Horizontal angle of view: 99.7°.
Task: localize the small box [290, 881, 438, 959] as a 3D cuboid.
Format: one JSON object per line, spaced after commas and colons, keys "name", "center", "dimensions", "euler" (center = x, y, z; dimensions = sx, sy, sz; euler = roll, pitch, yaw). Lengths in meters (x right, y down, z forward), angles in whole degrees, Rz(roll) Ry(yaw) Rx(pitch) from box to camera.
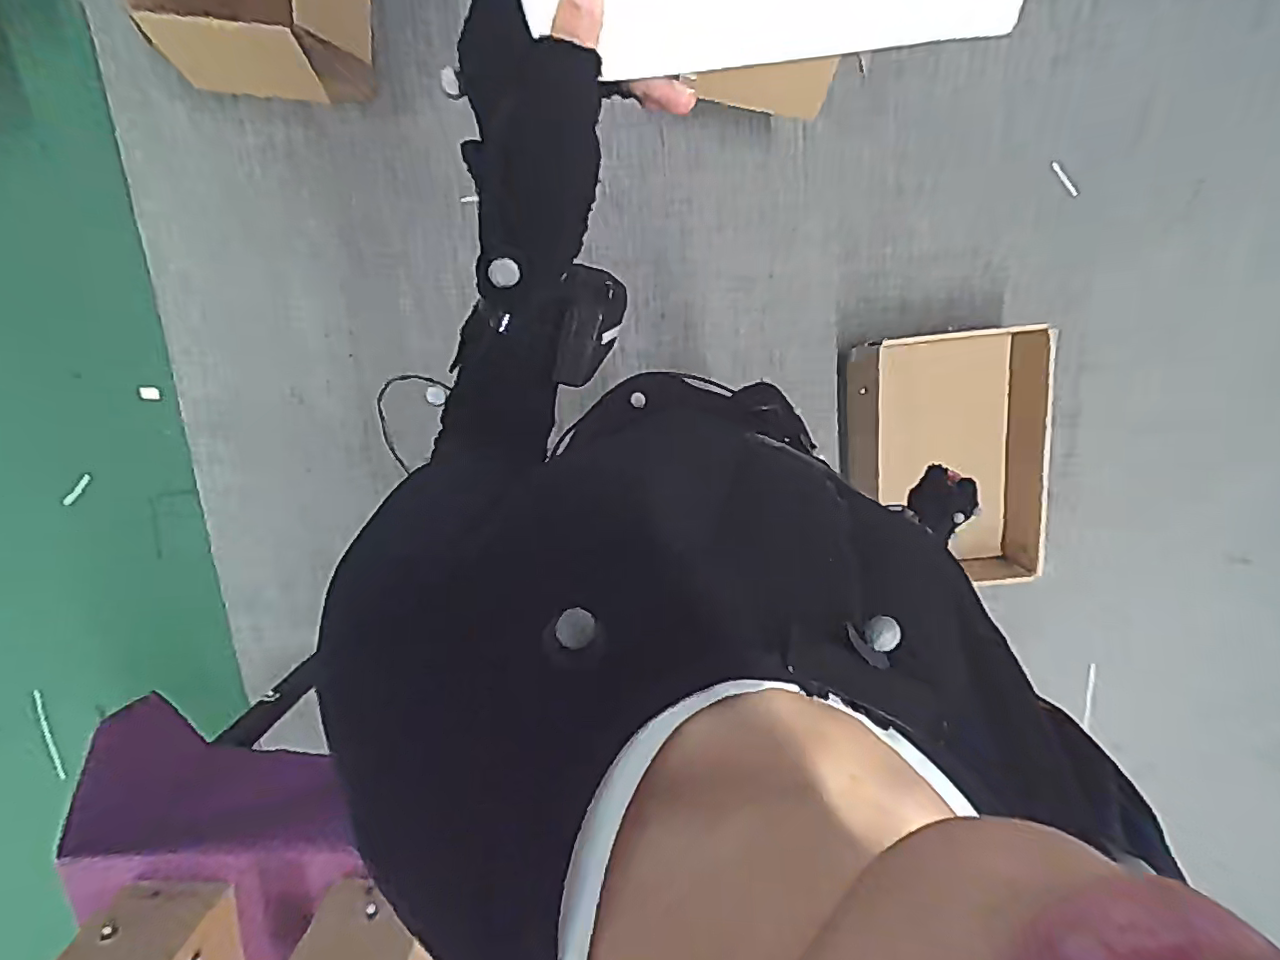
{"name": "small box", "center": [-0.412, 0.749, 0.805], "dimensions": [0.168, 0.176, 0.179], "euler": [3, 102, 0]}
